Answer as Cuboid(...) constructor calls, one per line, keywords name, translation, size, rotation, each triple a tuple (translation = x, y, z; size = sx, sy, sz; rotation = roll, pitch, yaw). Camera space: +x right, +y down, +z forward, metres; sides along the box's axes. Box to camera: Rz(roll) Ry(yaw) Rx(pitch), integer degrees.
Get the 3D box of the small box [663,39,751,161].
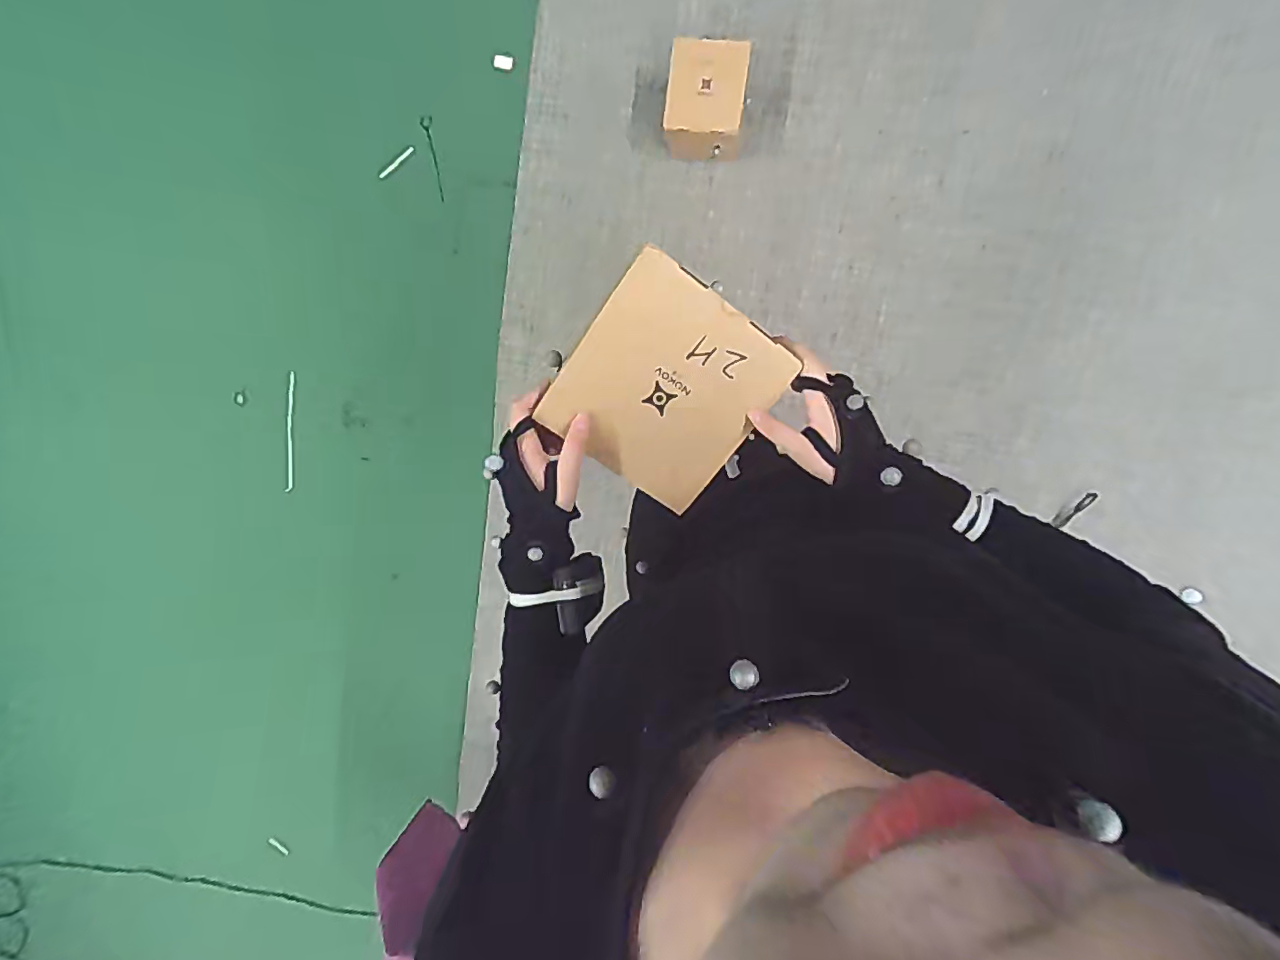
Cuboid(name="small box", translation=(0.154, -0.851, 1.227), size=(0.168, 0.176, 0.179), rotation=(10, 102, 7))
